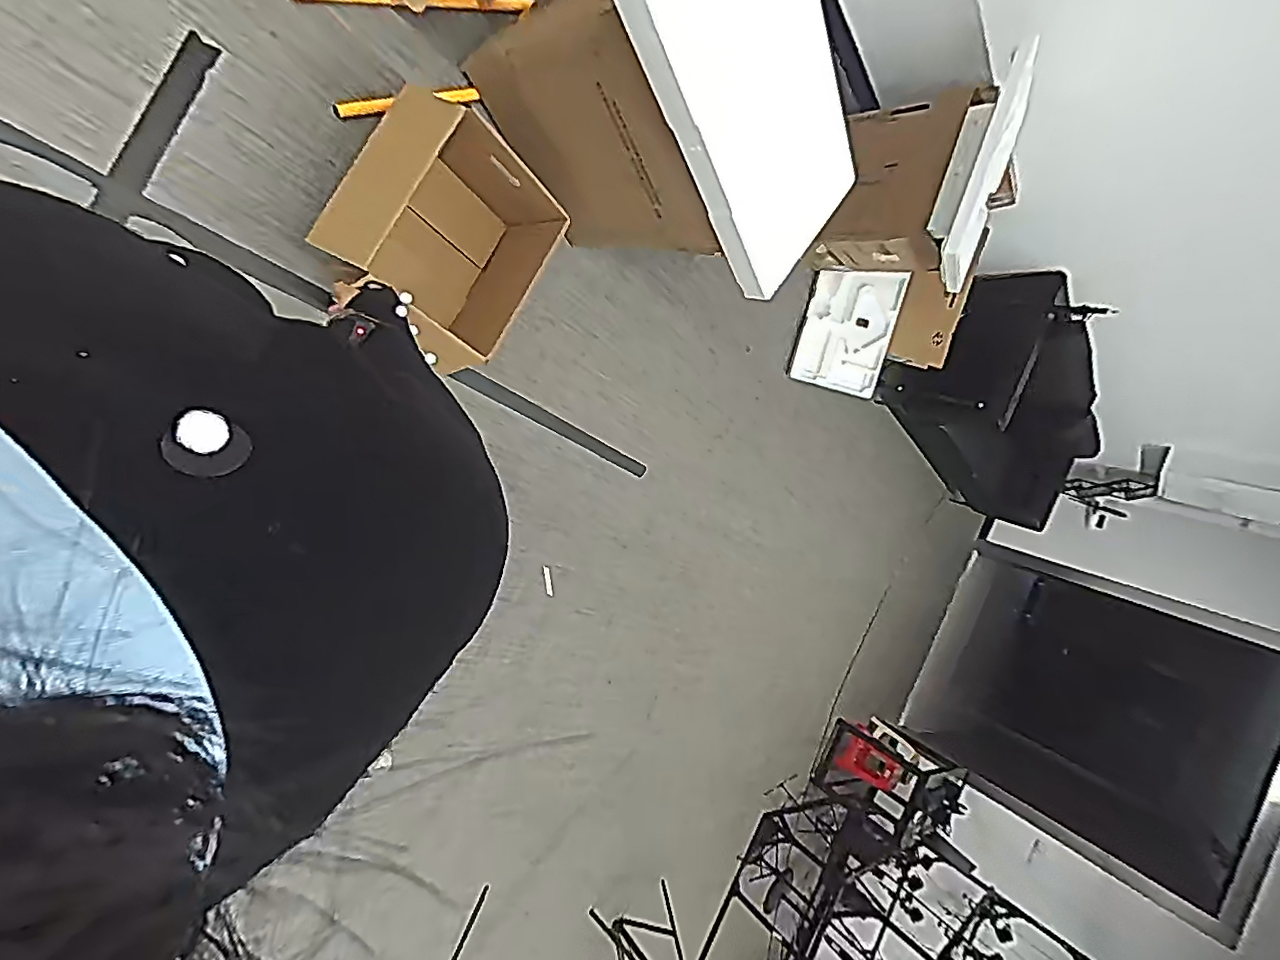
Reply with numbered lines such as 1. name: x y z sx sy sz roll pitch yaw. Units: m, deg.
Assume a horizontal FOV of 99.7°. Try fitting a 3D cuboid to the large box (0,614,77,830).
1. large box: -1.148 0.377 0.766 0.408 0.320 0.320 31 83 -45
